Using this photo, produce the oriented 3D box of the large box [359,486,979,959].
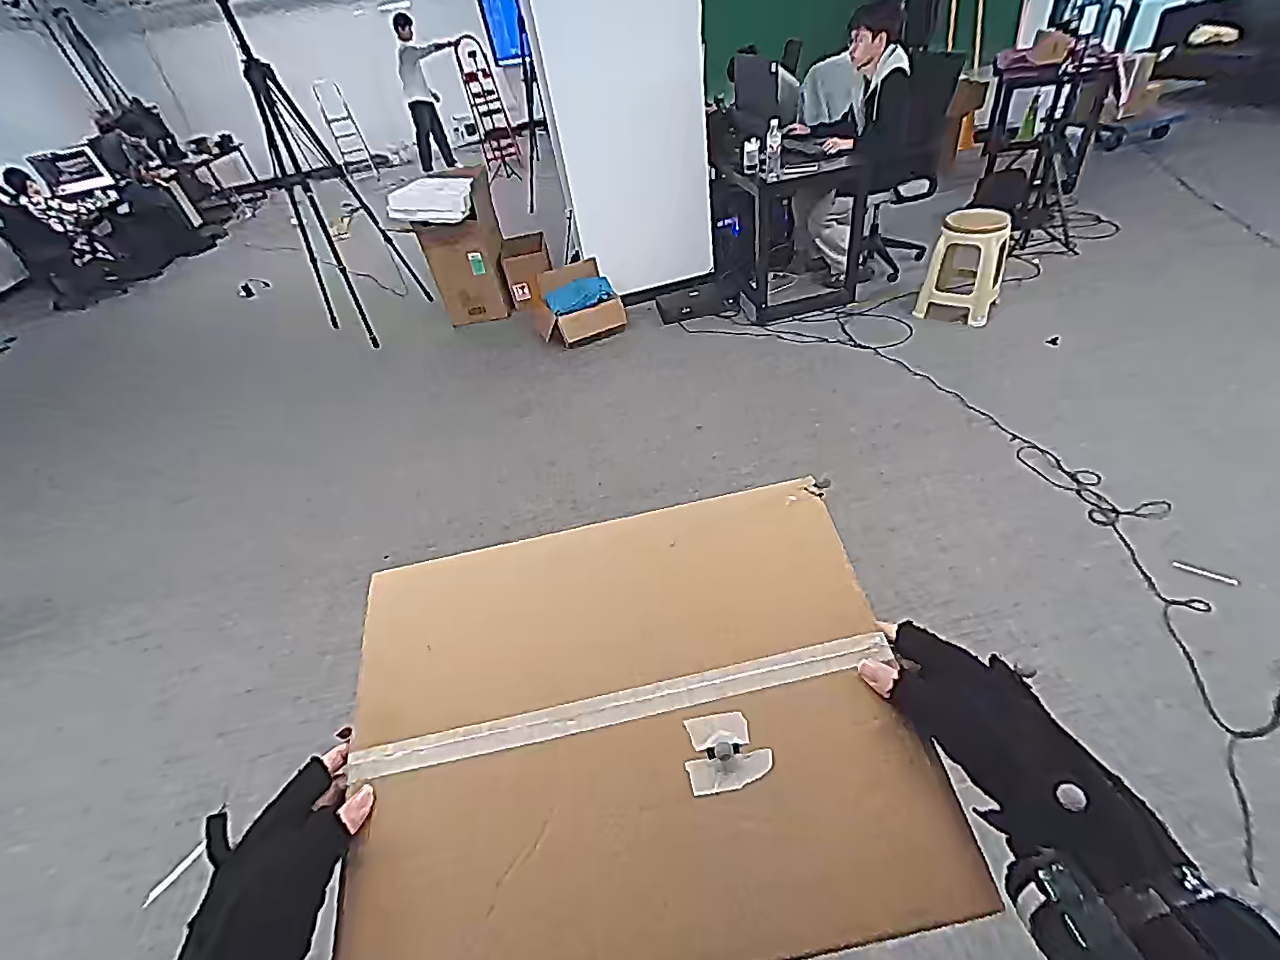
[{"bbox_3d":[0.006,0.255,0.535,0.408,0.320,0.320,-13,57,-1],"label":"large box"}]
